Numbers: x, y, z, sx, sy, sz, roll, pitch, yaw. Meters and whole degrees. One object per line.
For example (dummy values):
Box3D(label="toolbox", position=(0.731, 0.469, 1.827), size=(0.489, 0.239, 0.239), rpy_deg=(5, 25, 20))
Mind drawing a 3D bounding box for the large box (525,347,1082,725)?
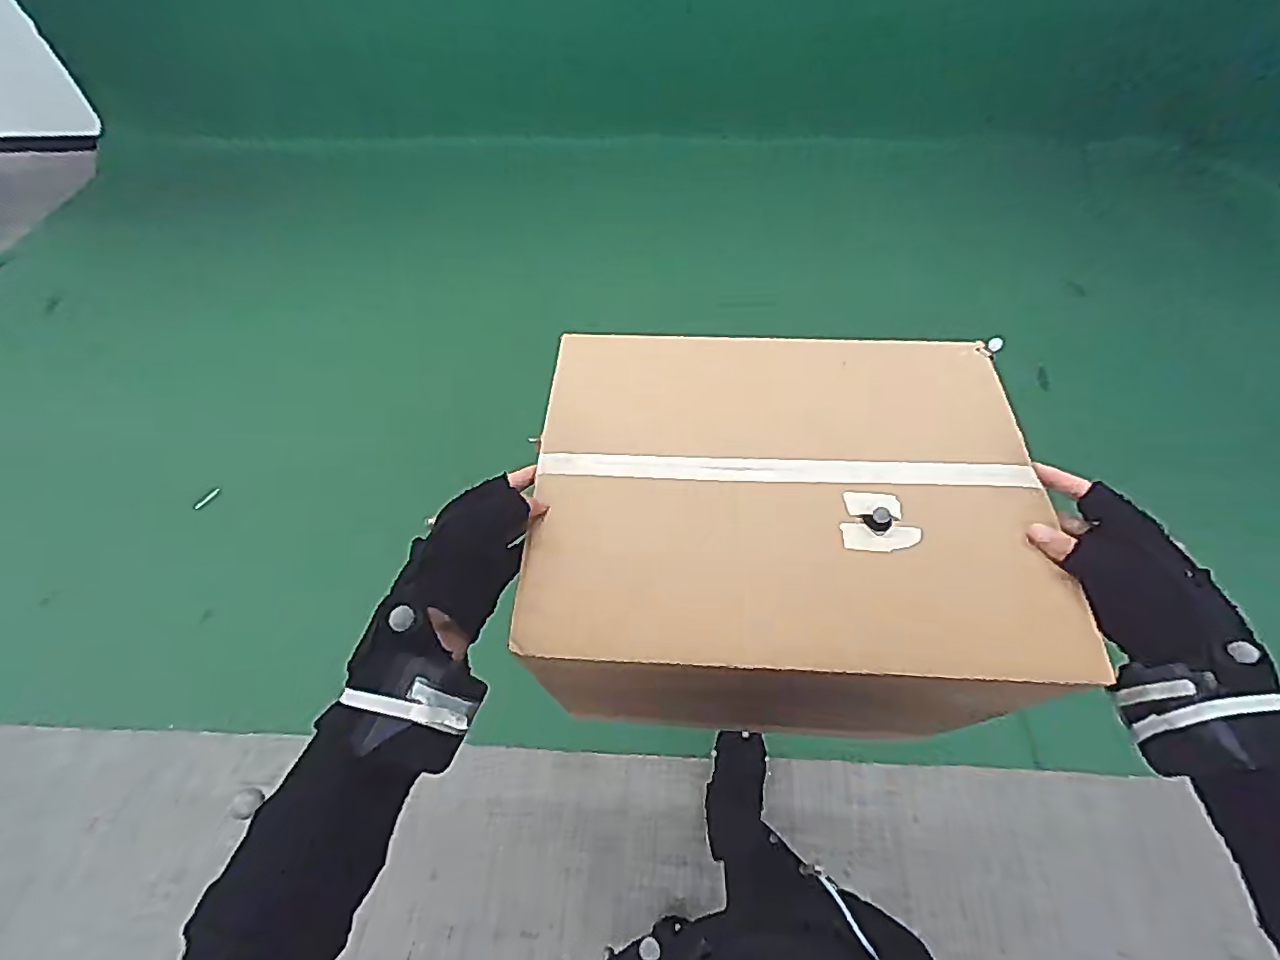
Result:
Box3D(label="large box", position=(0.120, 0.076, 0.588), size=(0.408, 0.320, 0.320), rpy_deg=(1, 59, 3))
